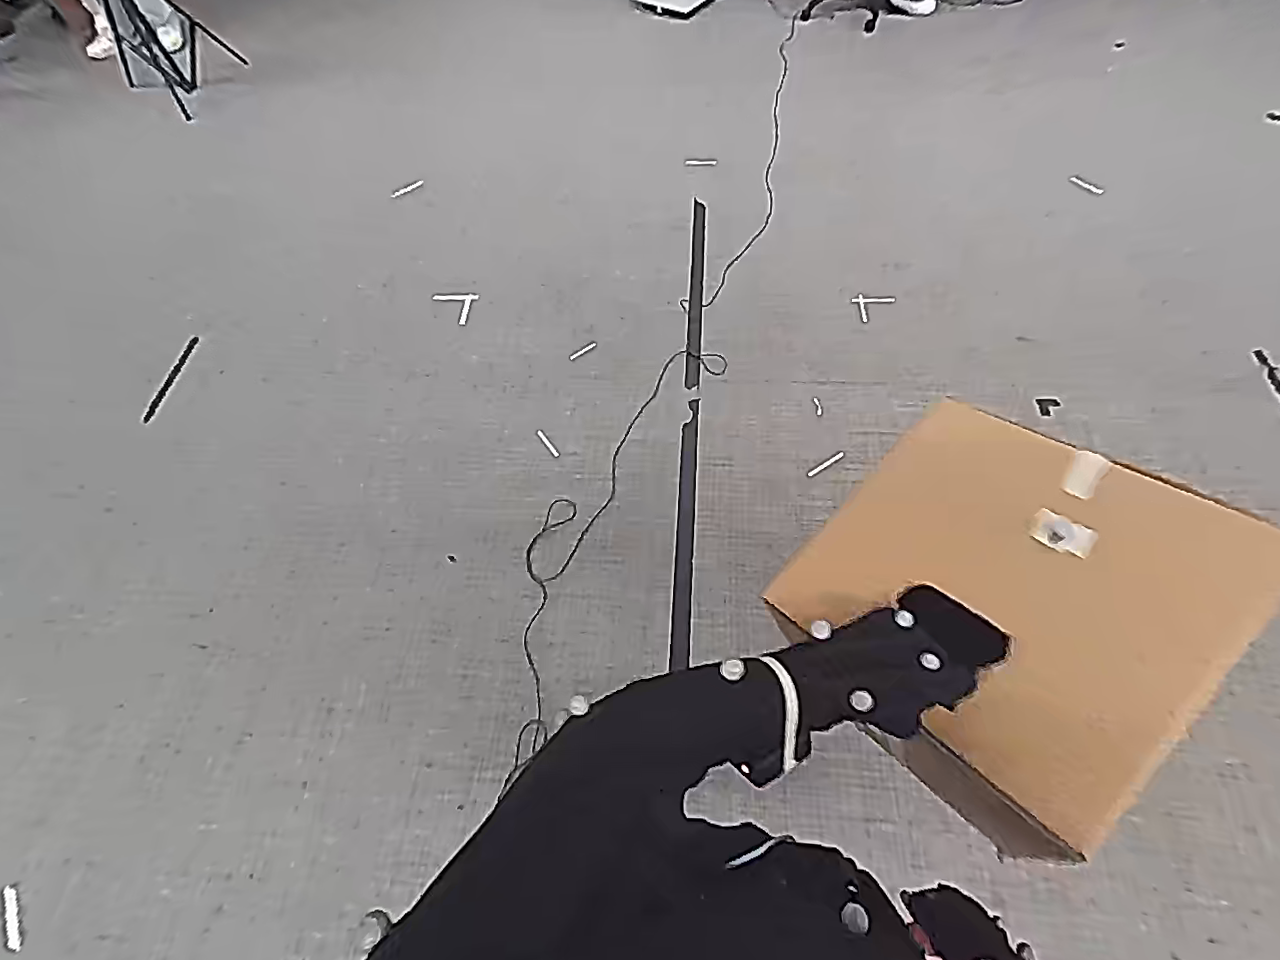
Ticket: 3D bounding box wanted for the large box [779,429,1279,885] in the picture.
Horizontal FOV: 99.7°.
[{"bbox_3d":[0.424,0.214,0.639,0.320,0.408,0.320,-44,47,-5],"label":"large box"}]
